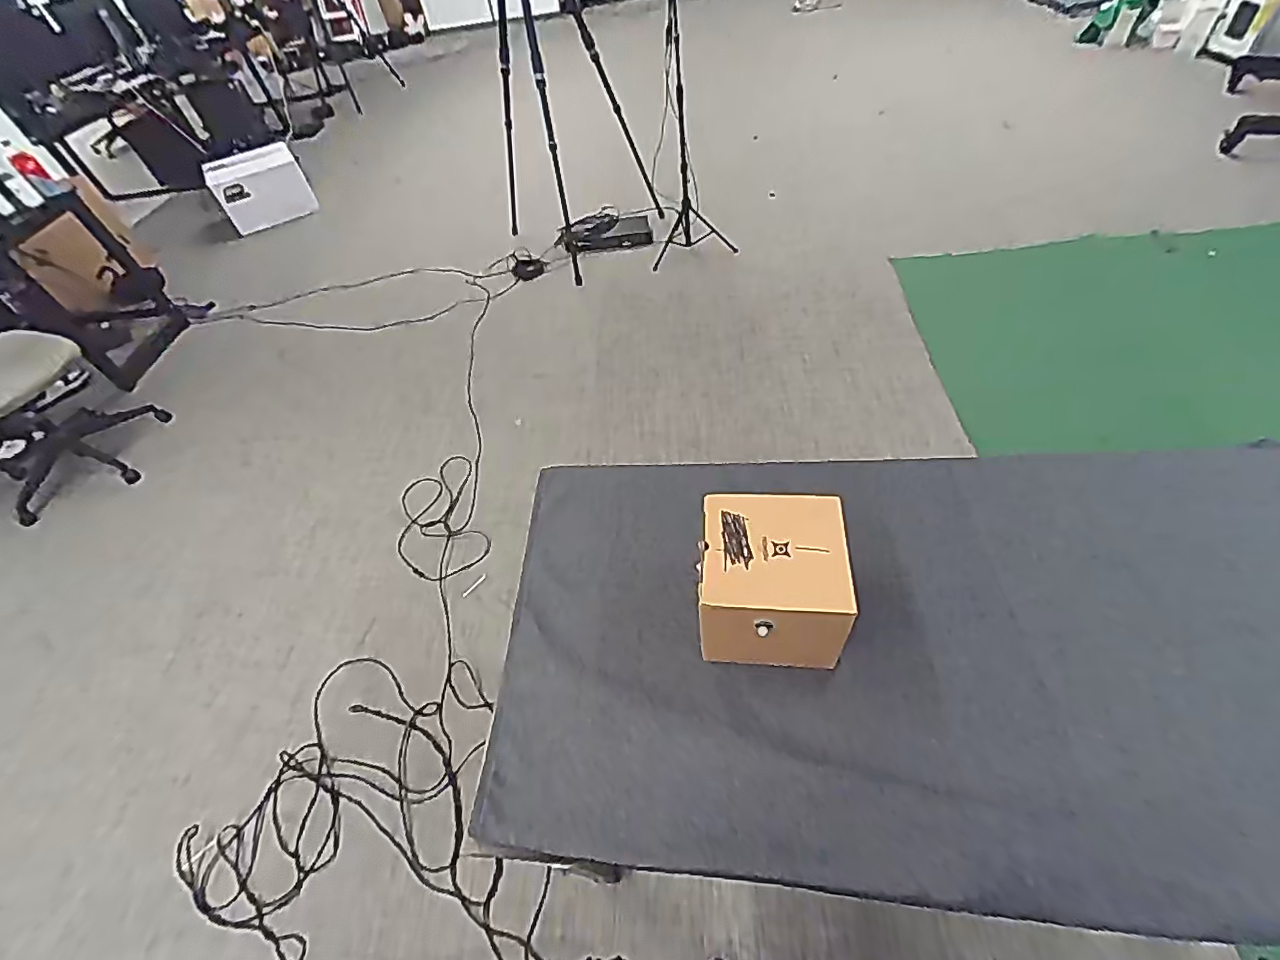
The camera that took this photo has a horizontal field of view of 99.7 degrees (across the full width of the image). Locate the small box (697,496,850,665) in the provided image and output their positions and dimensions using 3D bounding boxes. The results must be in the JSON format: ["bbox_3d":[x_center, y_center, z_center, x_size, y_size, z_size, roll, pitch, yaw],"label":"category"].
[{"bbox_3d":[0.171,0.138,0.732,0.179,0.176,0.168,1,50,9],"label":"small box"}]
